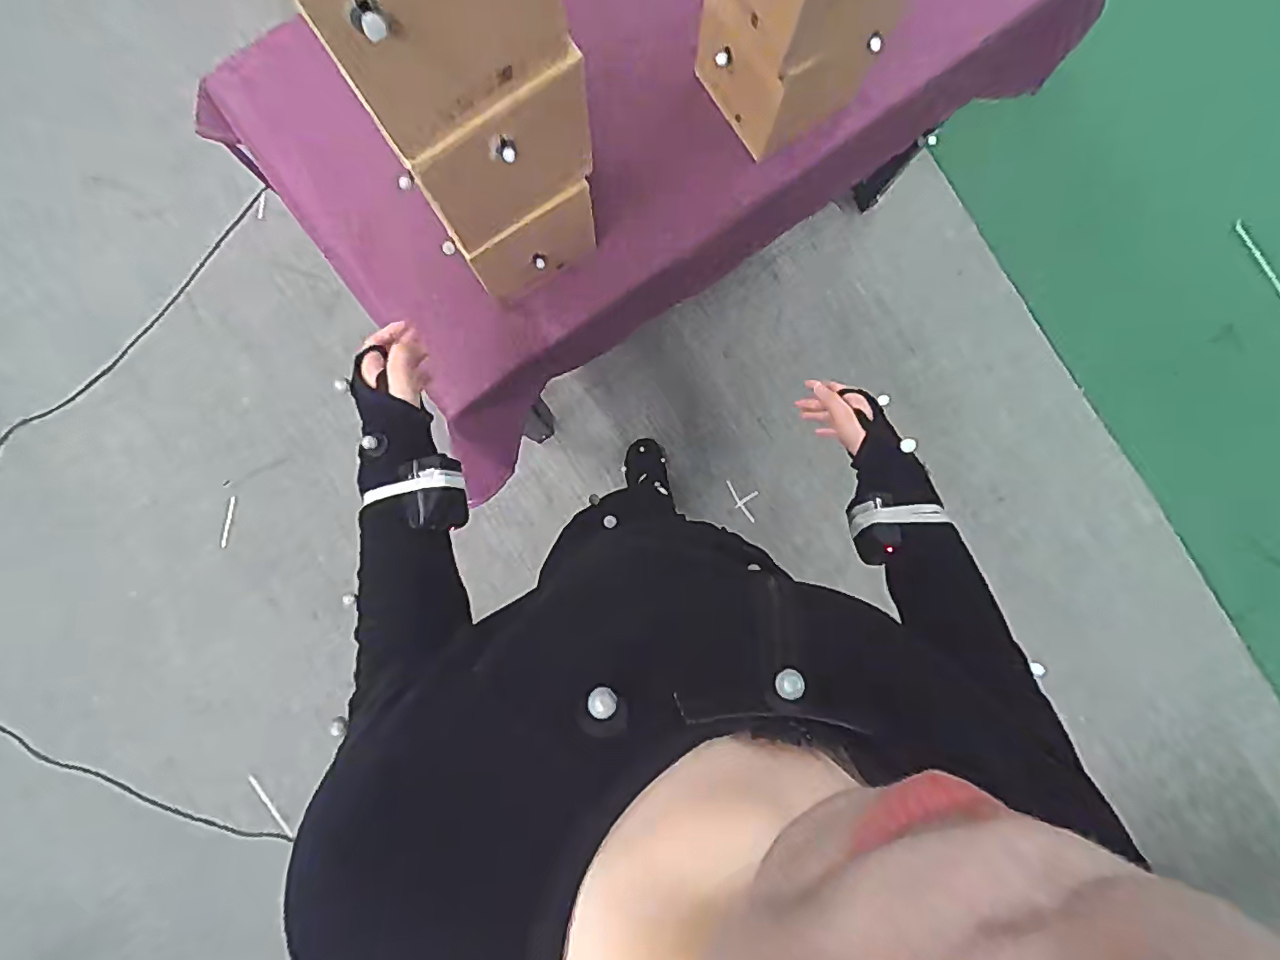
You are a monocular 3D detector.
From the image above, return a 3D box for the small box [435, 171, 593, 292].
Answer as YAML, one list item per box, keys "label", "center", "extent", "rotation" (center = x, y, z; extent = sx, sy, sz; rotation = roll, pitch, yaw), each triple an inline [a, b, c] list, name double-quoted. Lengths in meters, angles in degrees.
- label: "small box"
  center: [-0.173, -0.365, 0.689]
  extent: [0.168, 0.176, 0.179]
  rotation: [-33, 90, -2]

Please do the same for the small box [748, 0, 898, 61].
- label: "small box"
  center: [0.194, -0.578, 0.536]
  extent: [0.179, 0.176, 0.168]
  rotation: [-30, 90, -1]

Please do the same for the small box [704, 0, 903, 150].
- label: "small box"
  center: [0.197, -0.579, 0.700]
  extent: [0.179, 0.176, 0.168]
  rotation: [-34, 90, -2]

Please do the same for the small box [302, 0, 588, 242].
- label: "small box"
  center: [-0.166, -0.370, 0.526]
  extent: [0.179, 0.176, 0.168]
  rotation: [-34, 91, -2]
